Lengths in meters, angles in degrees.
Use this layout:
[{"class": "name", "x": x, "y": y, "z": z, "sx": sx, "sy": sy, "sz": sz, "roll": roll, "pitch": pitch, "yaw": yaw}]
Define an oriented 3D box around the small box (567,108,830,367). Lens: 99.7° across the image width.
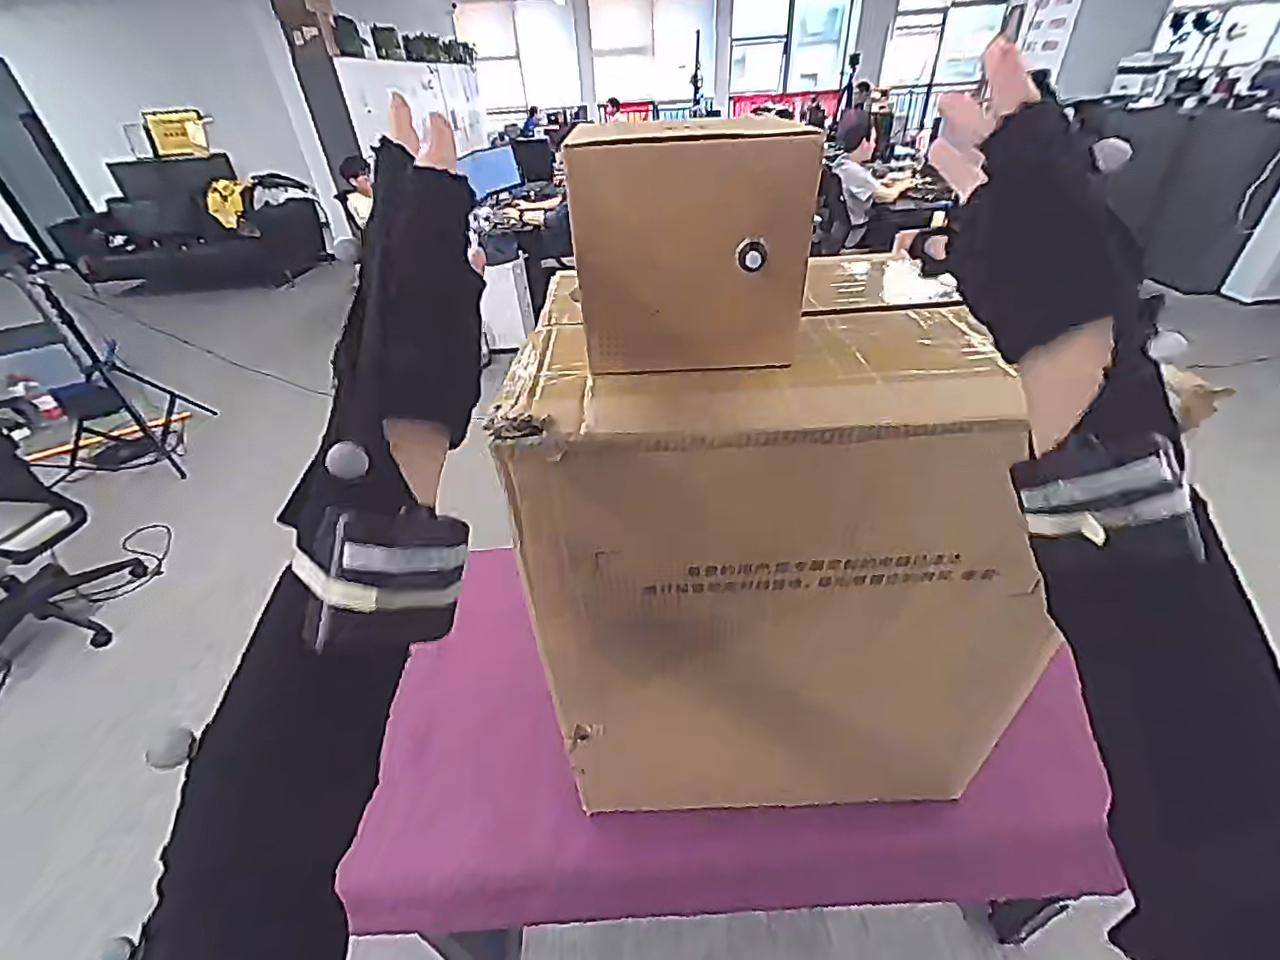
[{"class": "small box", "x": 0.041, "y": -0.208, "z": 0.463, "sx": 0.179, "sy": 0.176, "sz": 0.168, "roll": -4, "pitch": 36, "yaw": 1}]
